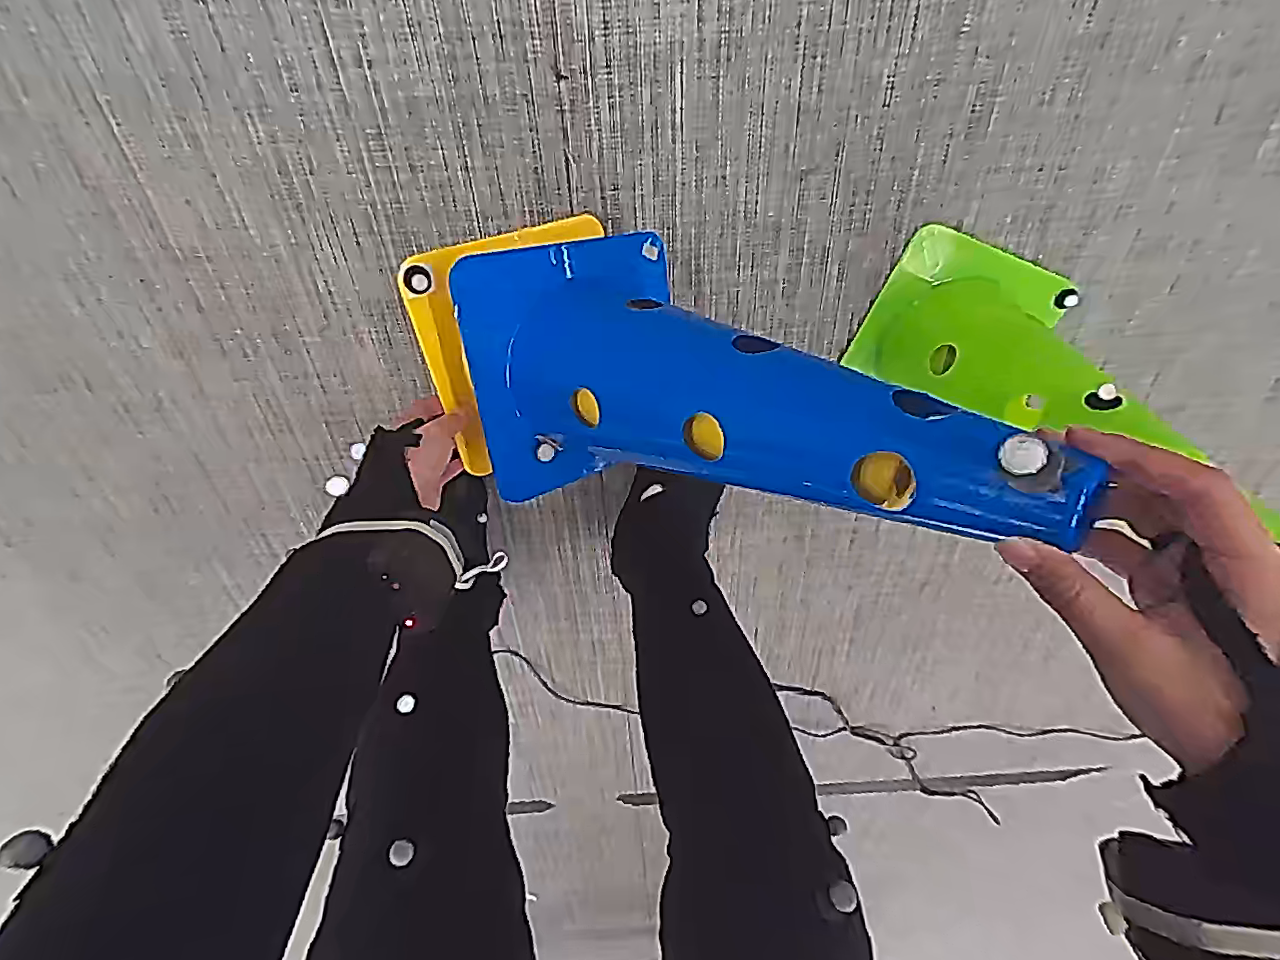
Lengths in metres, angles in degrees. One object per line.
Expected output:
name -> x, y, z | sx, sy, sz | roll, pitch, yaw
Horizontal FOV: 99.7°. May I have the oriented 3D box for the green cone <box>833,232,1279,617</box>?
green cone -> 0.340, -0.043, 0.442 | 0.200, 0.368, 0.202 | 14, 123, -12
